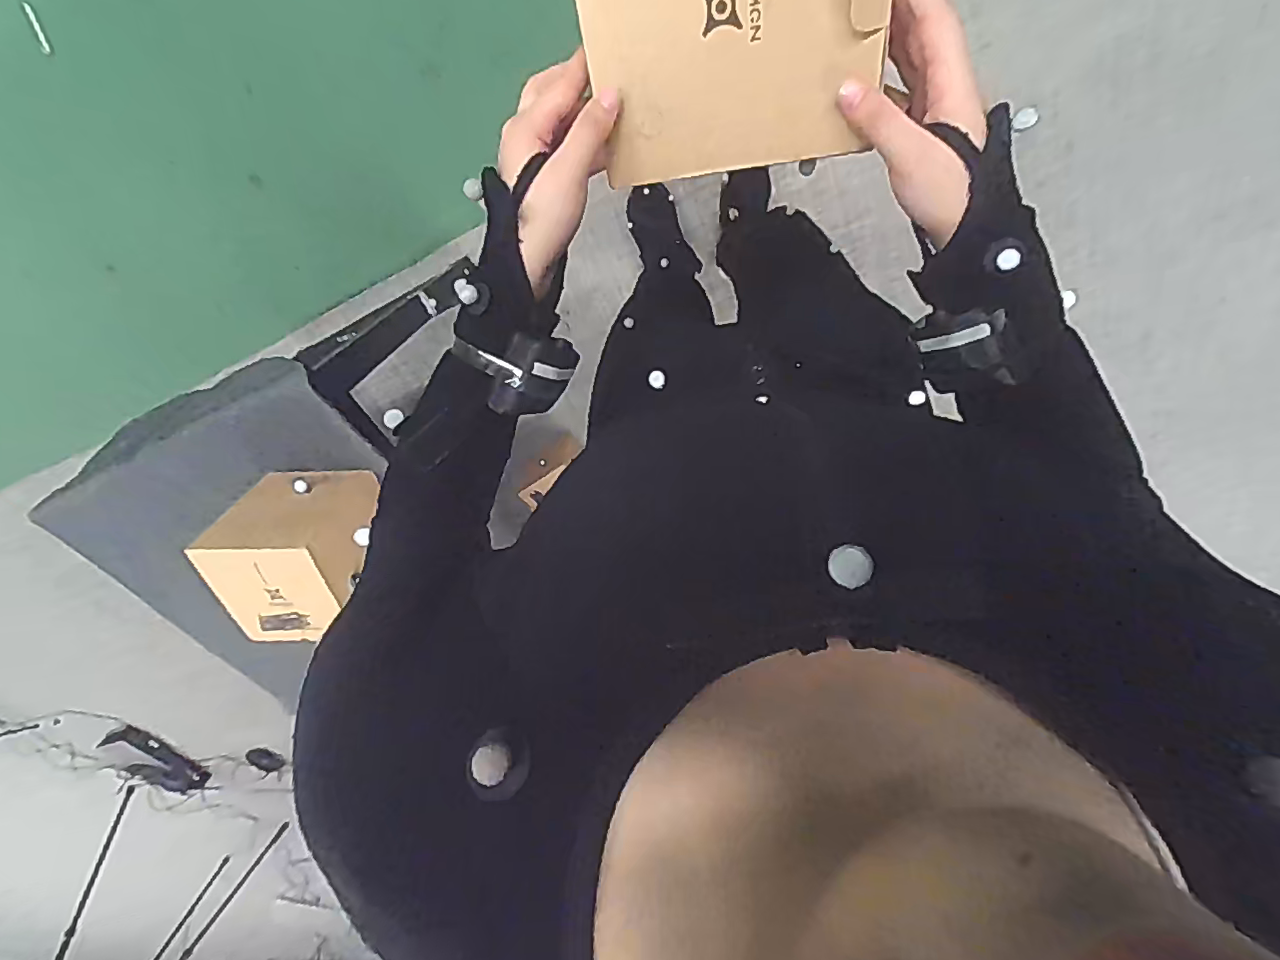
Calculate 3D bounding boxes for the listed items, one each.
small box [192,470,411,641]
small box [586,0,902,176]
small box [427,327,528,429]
[{"bbox_3d":[-0.453,0.104,0.761,0.168,0.176,0.179,-1,126,6],"label":"small box"},{"bbox_3d":[0.065,-0.321,0.359,0.179,0.176,0.168,-3,131,11],"label":"small box"},{"bbox_3d":[-0.407,-0.267,1.394,0.179,0.176,0.168,-25,119,18],"label":"small box"}]
